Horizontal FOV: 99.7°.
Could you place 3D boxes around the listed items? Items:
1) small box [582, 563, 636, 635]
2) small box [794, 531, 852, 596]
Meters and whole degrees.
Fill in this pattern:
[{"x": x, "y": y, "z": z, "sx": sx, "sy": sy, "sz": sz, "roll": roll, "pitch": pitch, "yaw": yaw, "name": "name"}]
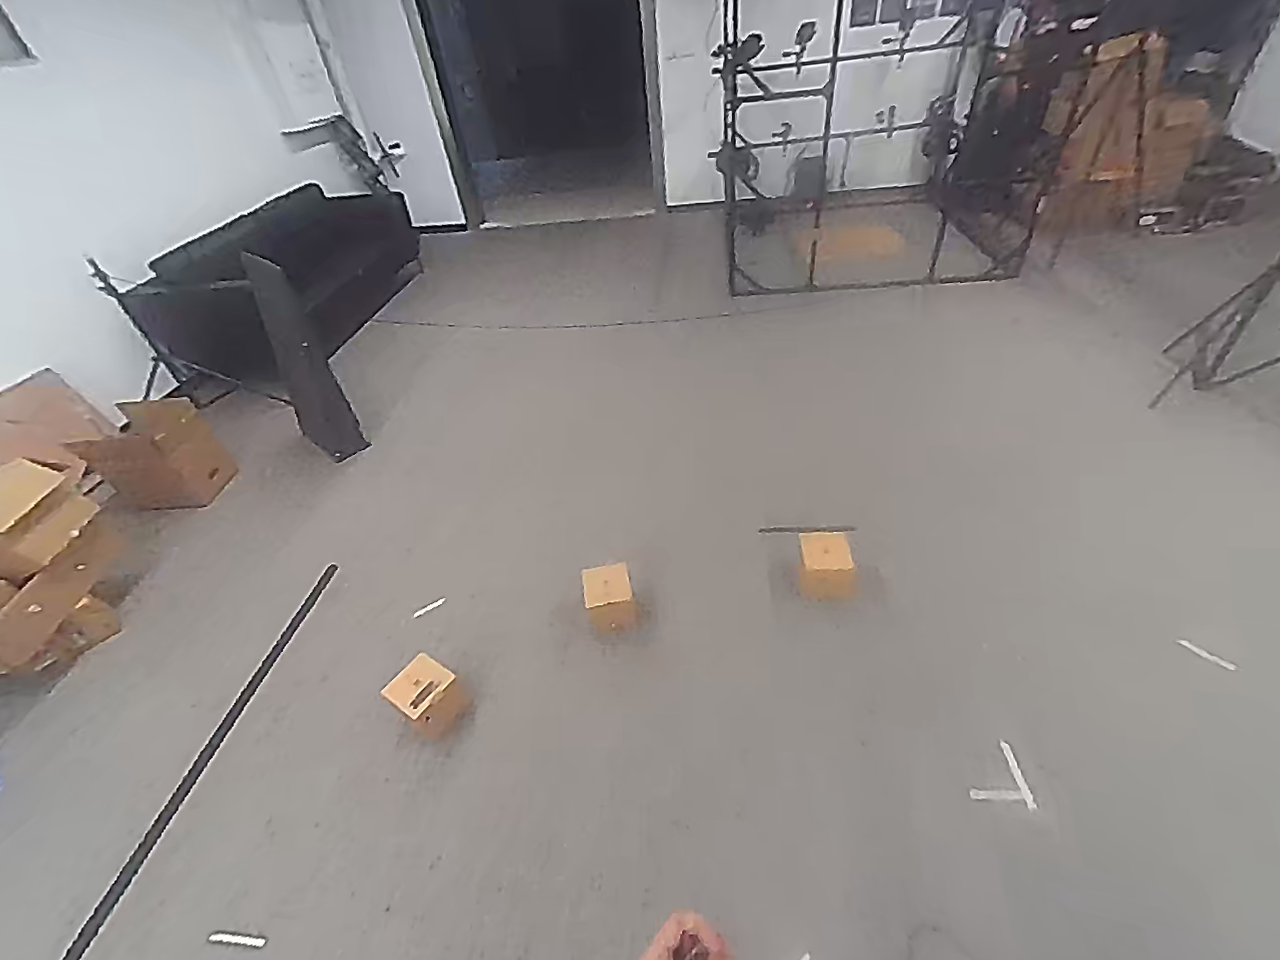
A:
[{"x": -0.113, "y": 0.432, "z": 1.954, "sx": 0.168, "sy": 0.176, "sz": 0.179, "roll": -11, "pitch": 40, "yaw": -3, "name": "small box"}, {"x": 0.663, "y": 0.310, "z": 1.973, "sx": 0.168, "sy": 0.176, "sz": 0.179, "roll": -3, "pitch": 40, "yaw": 7, "name": "small box"}]
